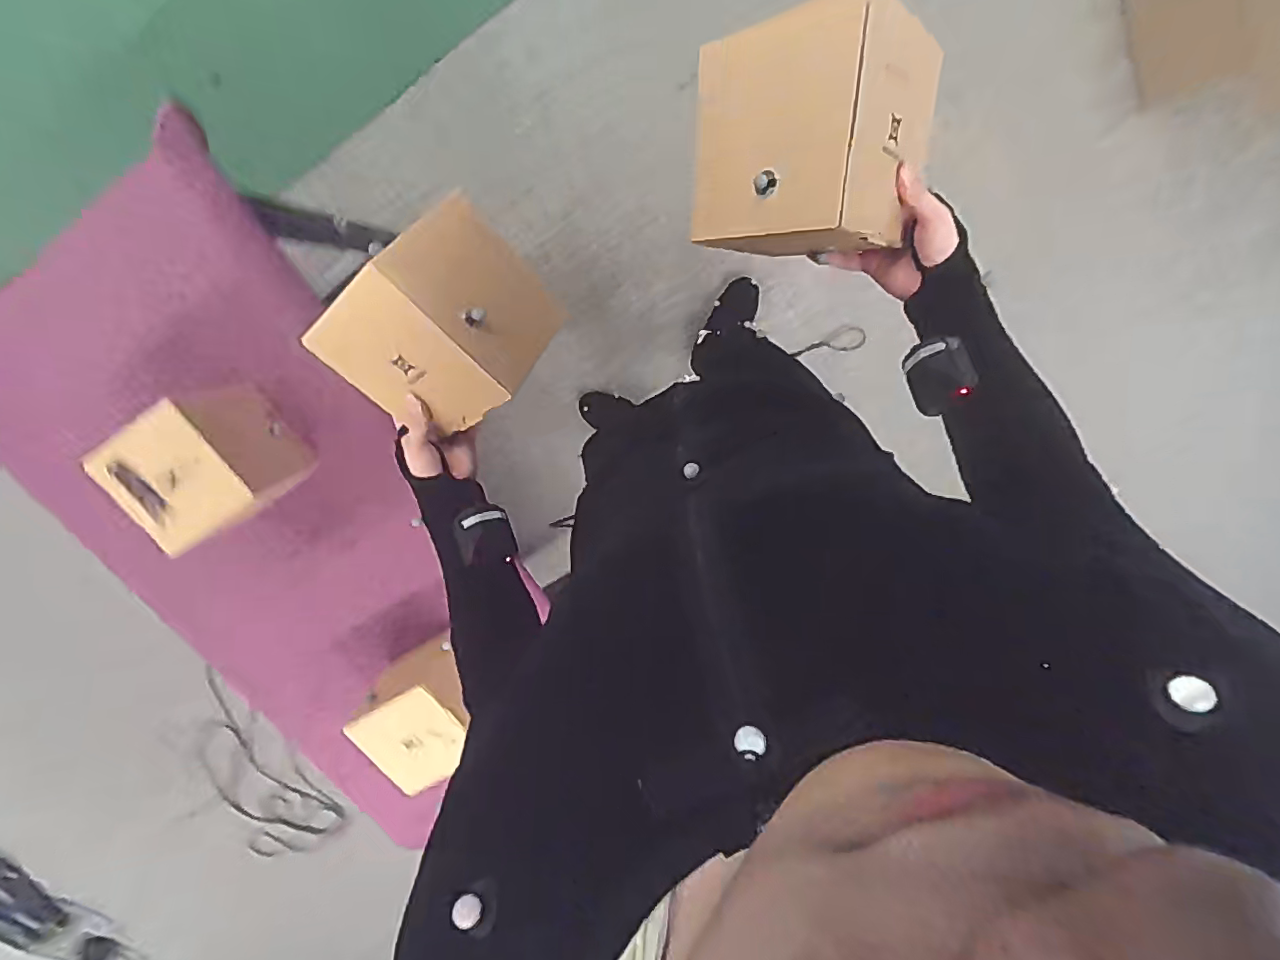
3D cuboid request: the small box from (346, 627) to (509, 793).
[{"bbox_3d":[-0.362,0.399,0.957,0.179,0.176,0.168,-32,104,11],"label":"small box"}]
